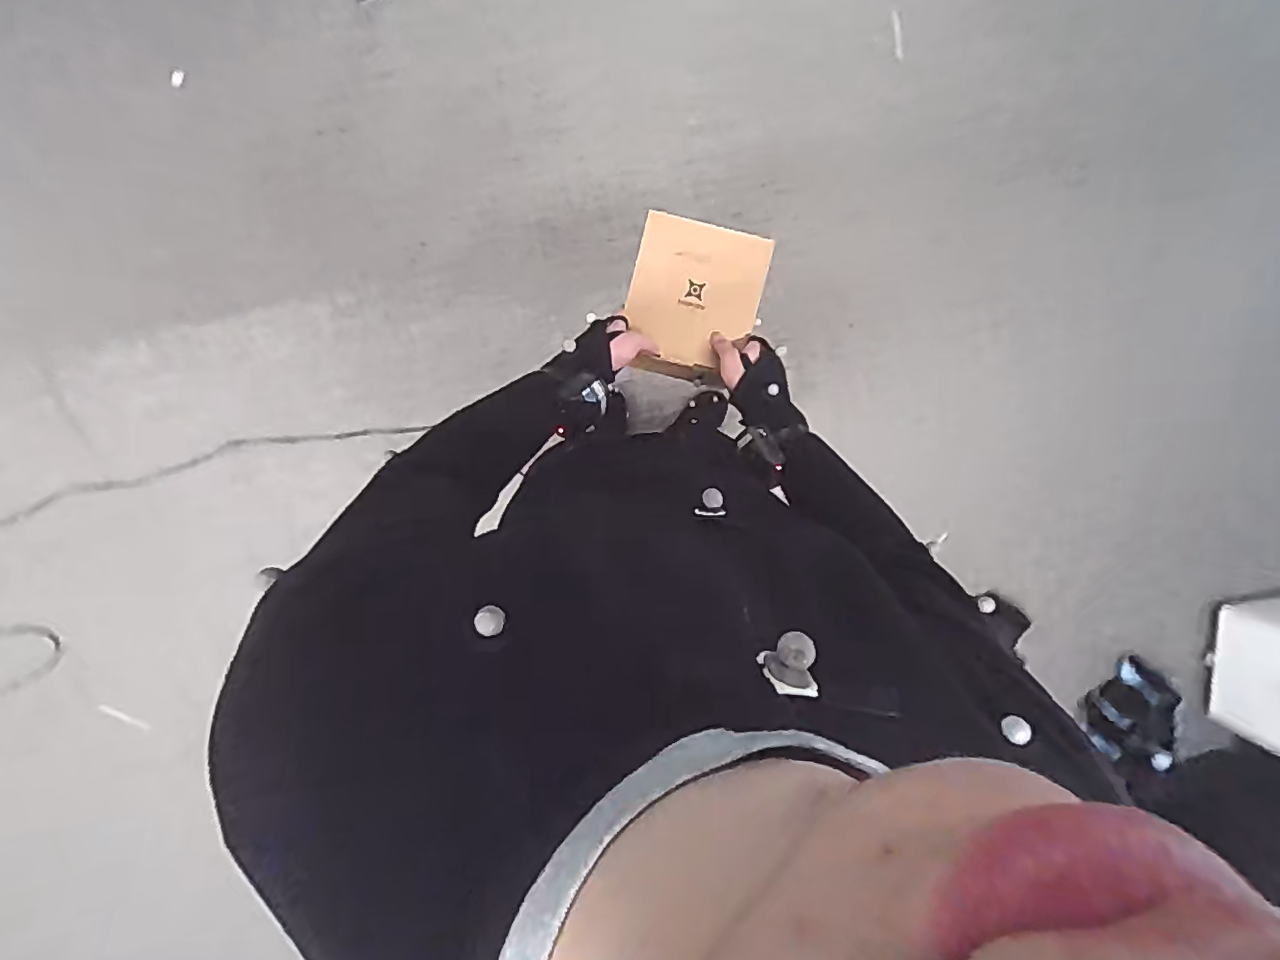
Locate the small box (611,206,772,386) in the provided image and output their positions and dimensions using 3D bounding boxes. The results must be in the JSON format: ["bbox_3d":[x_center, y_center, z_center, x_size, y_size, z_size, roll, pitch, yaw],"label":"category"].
[{"bbox_3d":[0.065,-0.236,0.744,0.168,0.176,0.179,14,93,0],"label":"small box"}]
